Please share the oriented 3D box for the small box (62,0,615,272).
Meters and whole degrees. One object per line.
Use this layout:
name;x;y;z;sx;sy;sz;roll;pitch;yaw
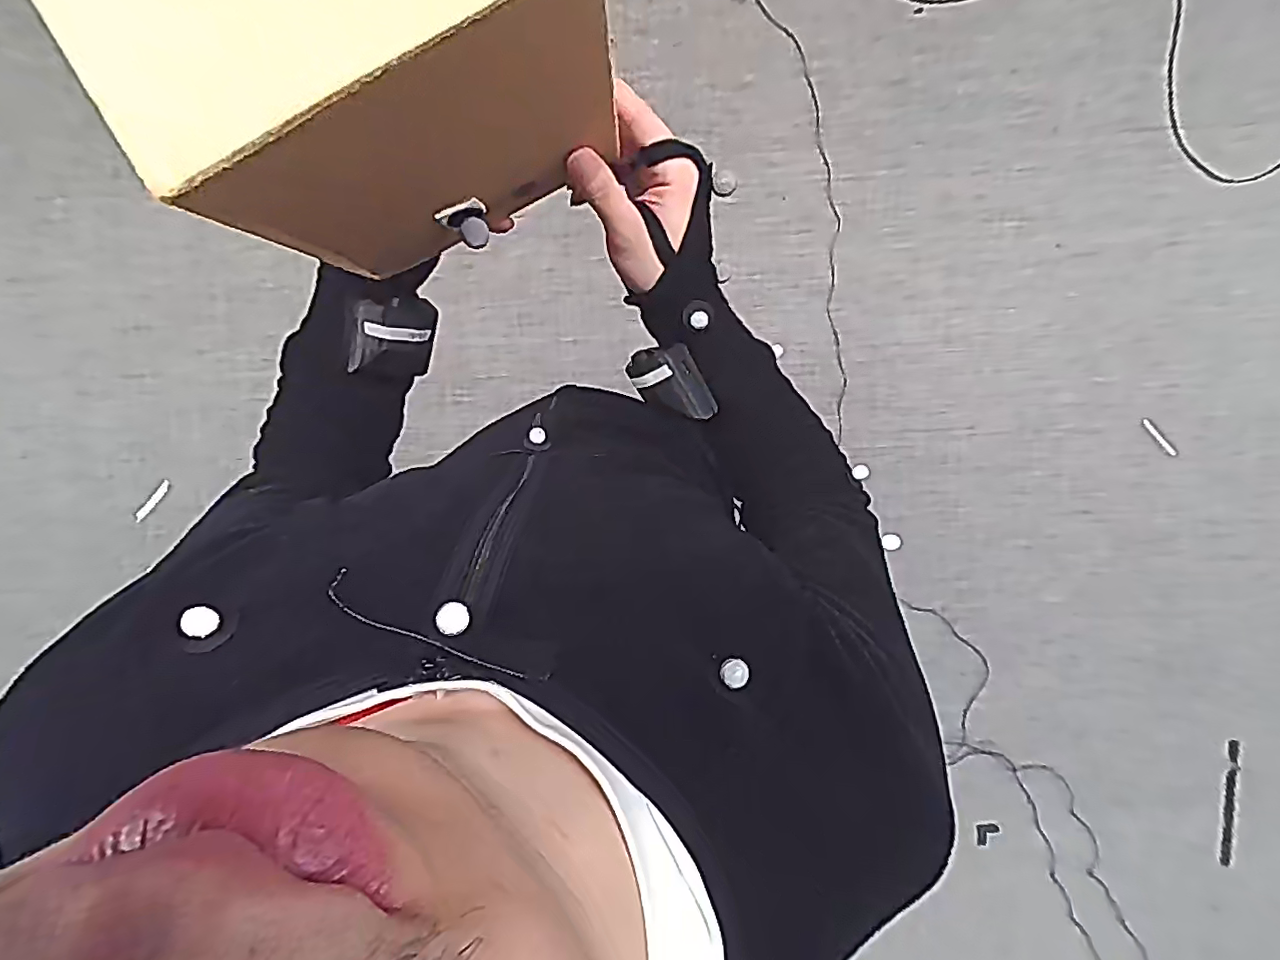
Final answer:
small box;-0.122;-0.222;0.245;0.168;0.176;0.179;-26;100;6
